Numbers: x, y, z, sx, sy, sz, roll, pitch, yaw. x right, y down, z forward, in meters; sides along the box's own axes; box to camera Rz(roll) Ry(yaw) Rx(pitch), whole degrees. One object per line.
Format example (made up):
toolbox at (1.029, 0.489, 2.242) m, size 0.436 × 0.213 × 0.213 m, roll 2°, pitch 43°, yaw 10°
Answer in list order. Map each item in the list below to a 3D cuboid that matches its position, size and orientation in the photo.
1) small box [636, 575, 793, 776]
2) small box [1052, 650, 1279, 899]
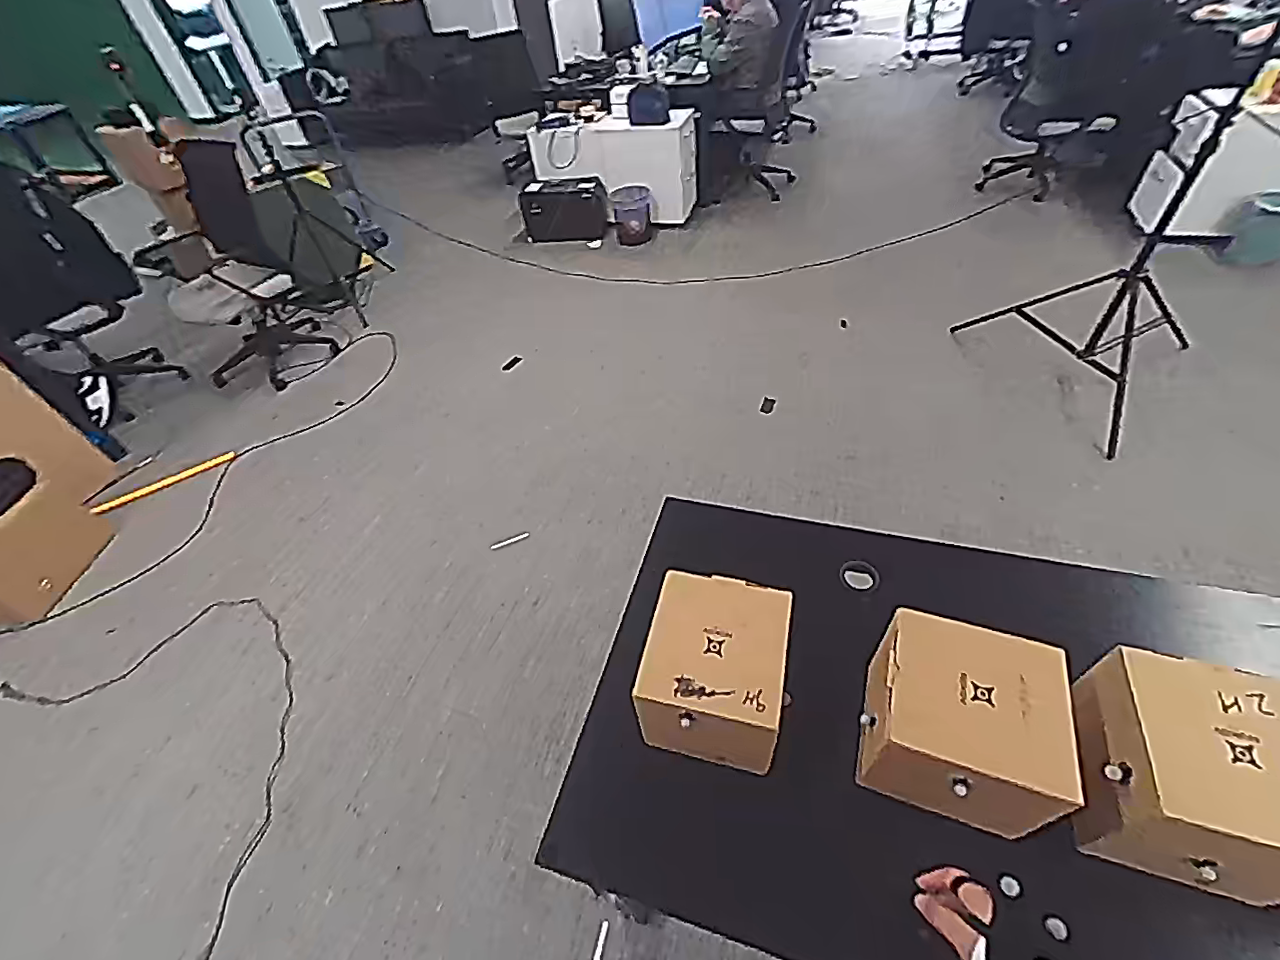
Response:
small box at (0.103, 0.257, 0.716) m, size 0.168 × 0.176 × 0.179 m, roll 8°, pitch 47°, yaw 16°
small box at (0.587, 0.320, 0.588) m, size 0.168 × 0.176 × 0.179 m, roll 10°, pitch 48°, yaw 17°
